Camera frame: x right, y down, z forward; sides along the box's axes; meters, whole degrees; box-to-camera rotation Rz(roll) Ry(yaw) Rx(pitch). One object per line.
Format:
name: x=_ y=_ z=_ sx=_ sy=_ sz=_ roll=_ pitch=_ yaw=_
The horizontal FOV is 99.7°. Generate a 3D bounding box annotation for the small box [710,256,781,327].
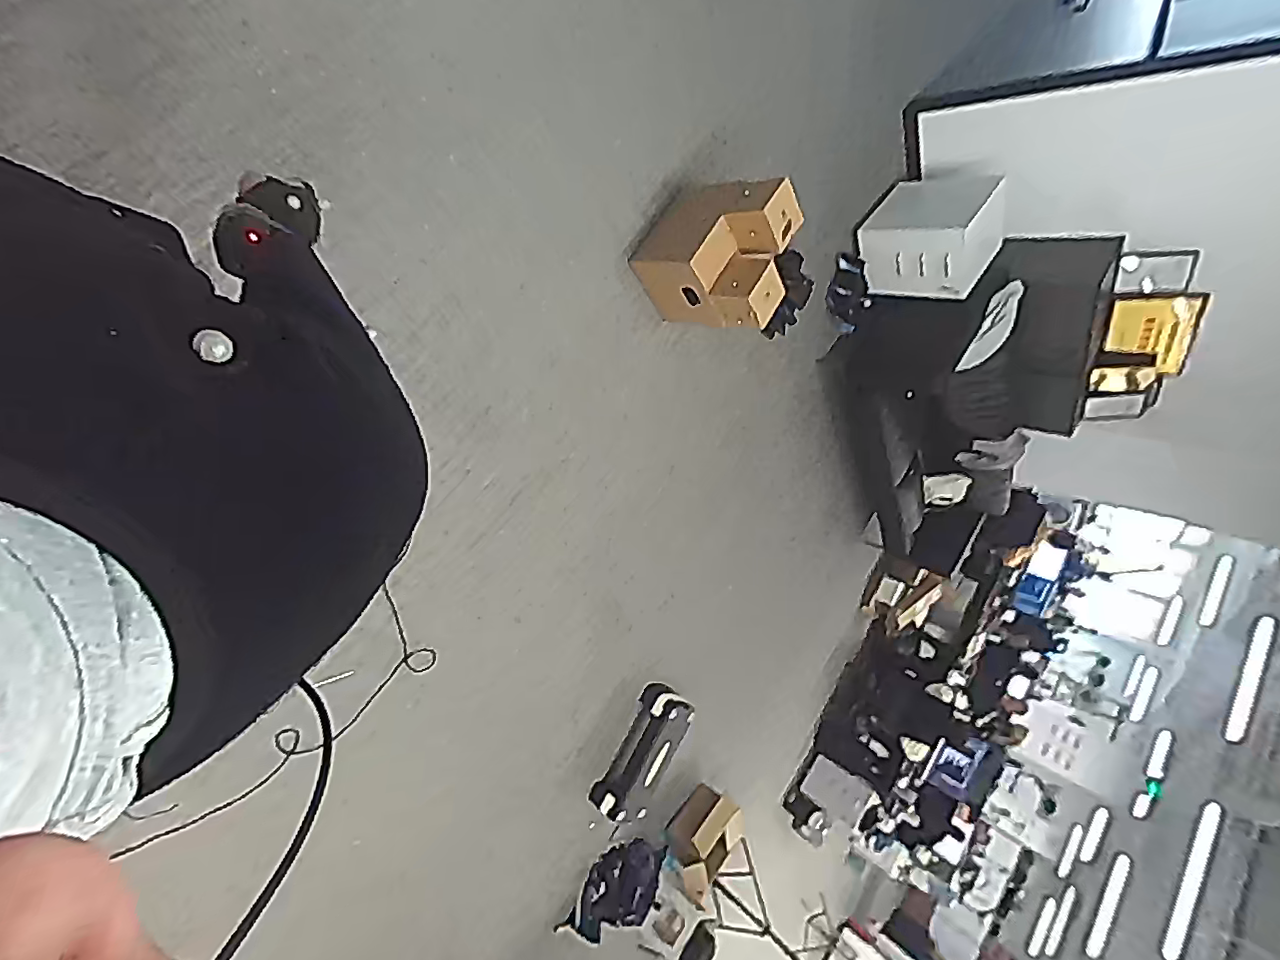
small box: x=0.367 y=-0.669 z=1.913 sx=0.179 sy=0.176 sz=0.168 roll=-60 pitch=141 yaw=-11

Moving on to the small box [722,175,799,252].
small box: x=0.413 y=-0.910 z=1.859 sx=0.168 sy=0.176 sz=0.179 roll=-56 pitch=134 yaw=-13
